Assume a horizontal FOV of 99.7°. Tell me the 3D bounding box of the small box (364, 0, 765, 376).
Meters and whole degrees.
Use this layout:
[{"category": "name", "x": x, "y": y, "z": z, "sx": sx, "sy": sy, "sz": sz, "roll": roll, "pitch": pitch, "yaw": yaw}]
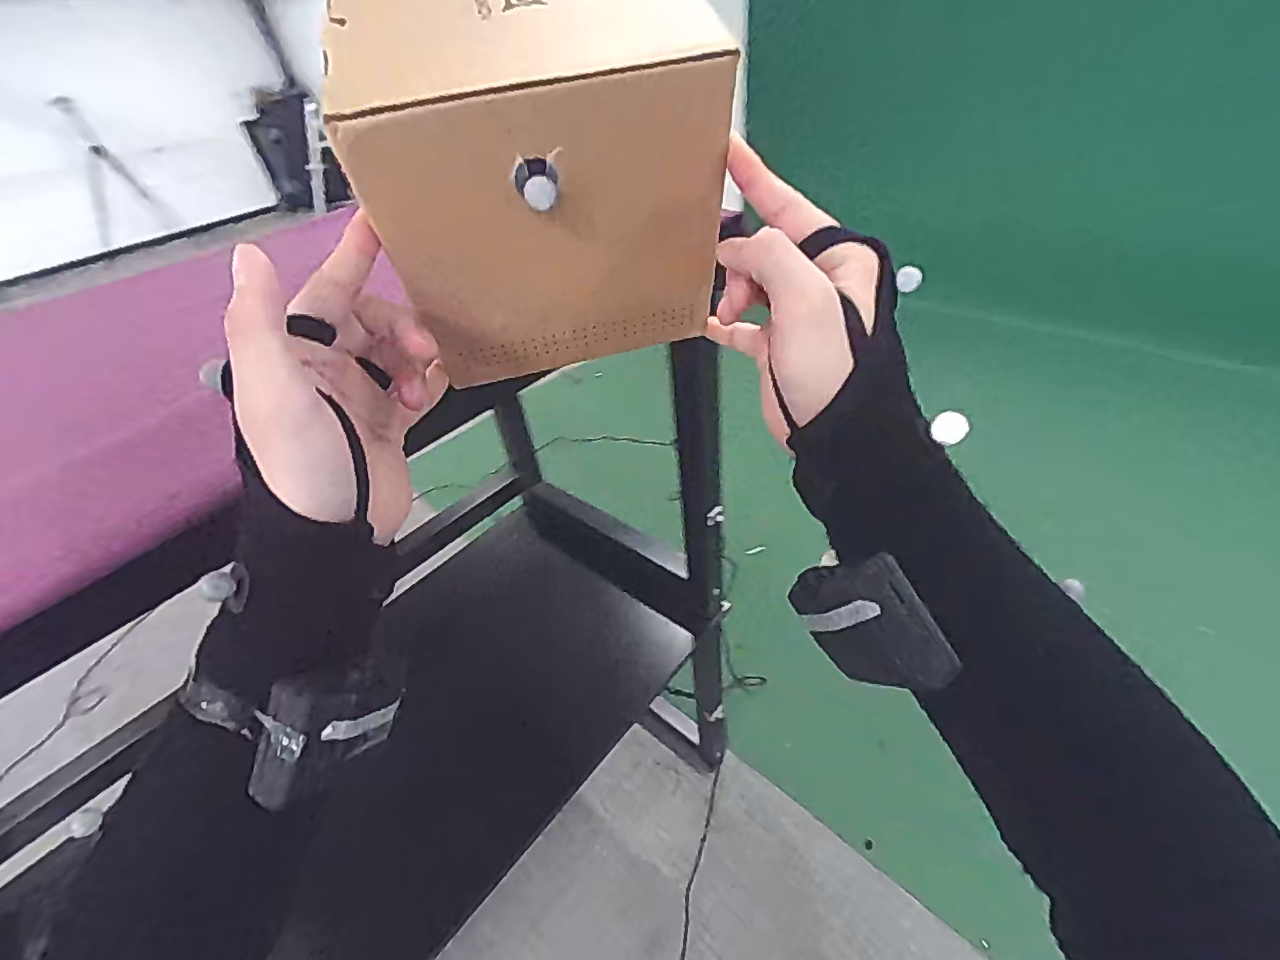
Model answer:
[{"category": "small box", "x": -0.045, "y": -0.191, "z": 0.335, "sx": 0.179, "sy": 0.176, "sz": 0.168, "roll": -14, "pitch": 61, "yaw": -5}]
